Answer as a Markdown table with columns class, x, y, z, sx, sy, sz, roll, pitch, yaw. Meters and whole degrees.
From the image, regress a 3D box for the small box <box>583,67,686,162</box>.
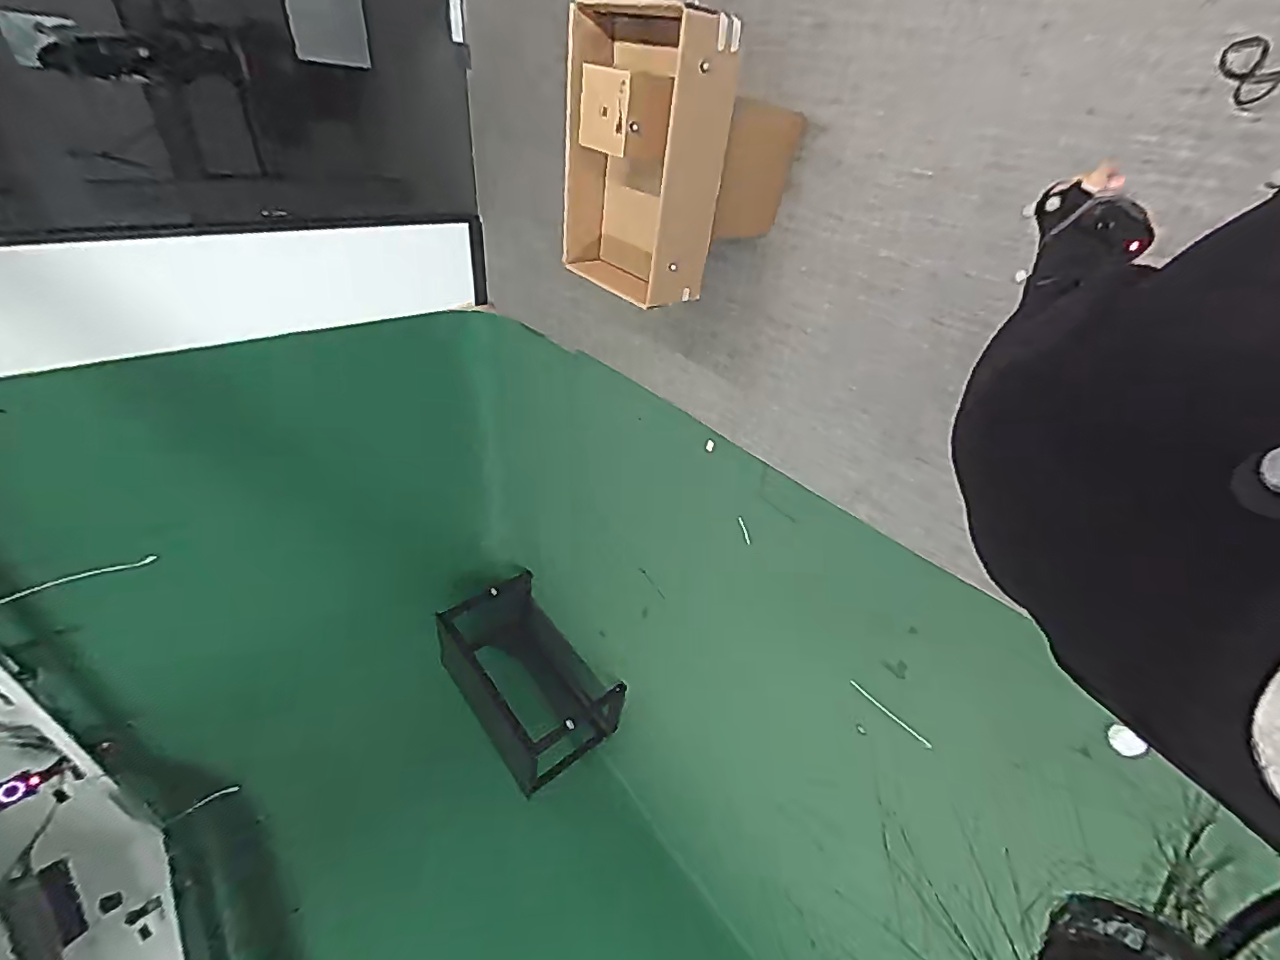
| class | x | y | z | sx | sy | sz | roll | pitch | yaw |
| --- | --- | --- | --- | --- | --- | --- | --- | --- | --- |
| small box | -0.016 | -0.877 | 1.303 | 0.179 | 0.176 | 0.168 | 40 | 139 | 34 |
